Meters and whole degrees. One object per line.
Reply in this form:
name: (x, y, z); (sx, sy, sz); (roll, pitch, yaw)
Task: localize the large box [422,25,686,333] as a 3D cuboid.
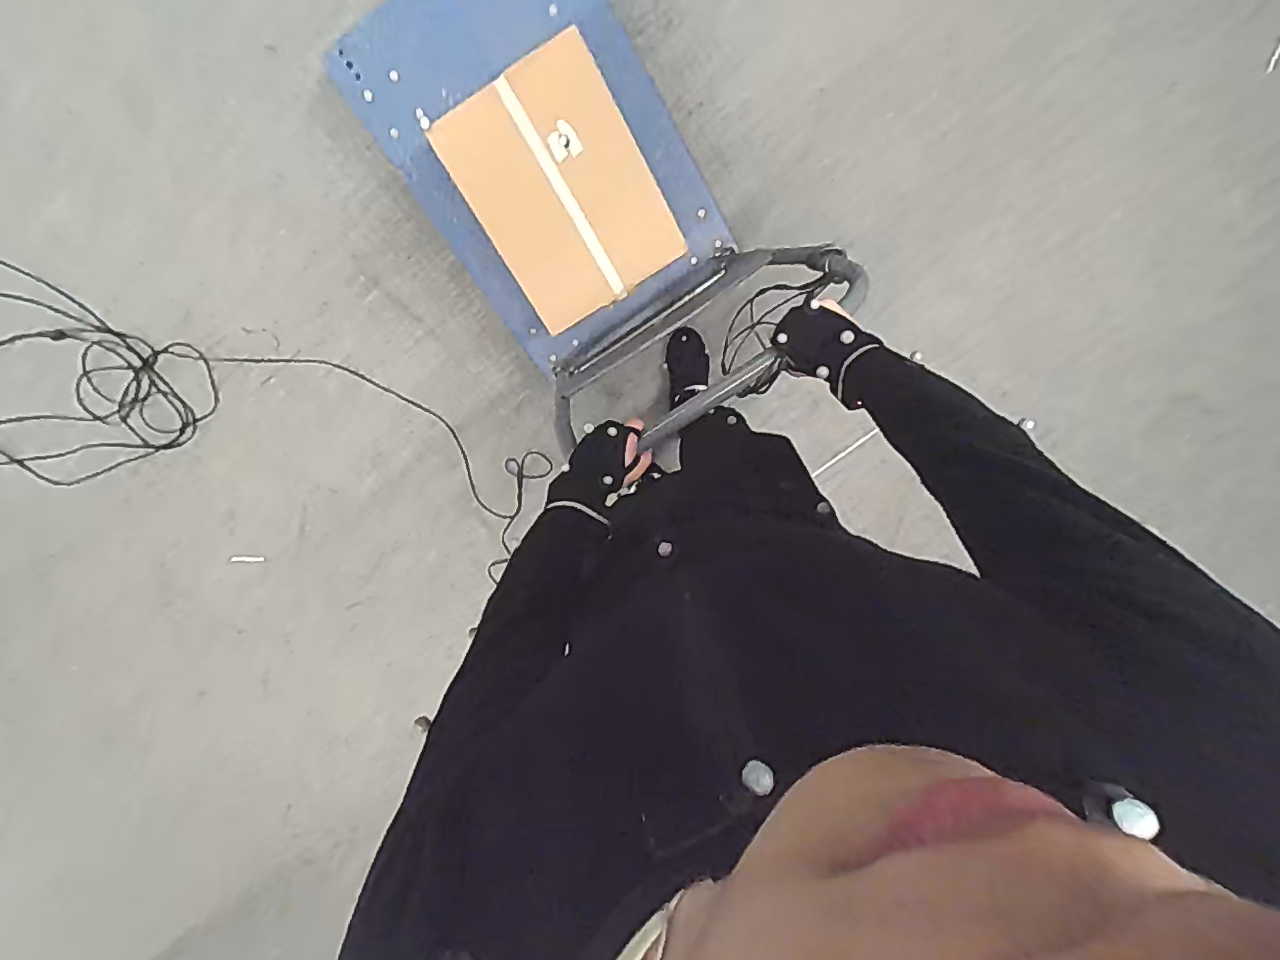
large box: (-0.151, -0.562, 1.101); (0.320, 0.320, 0.408); (-30, 109, 5)
